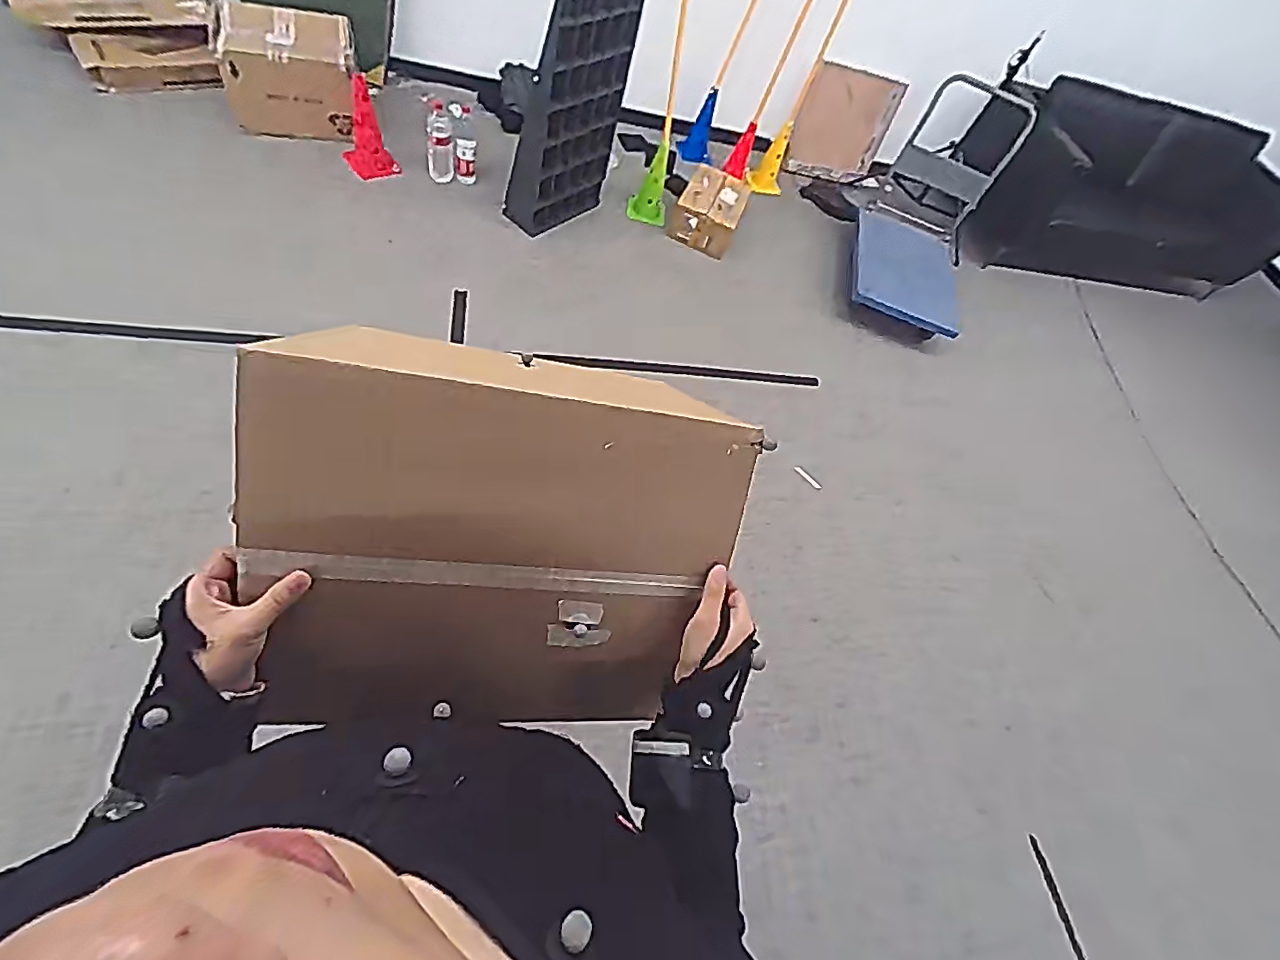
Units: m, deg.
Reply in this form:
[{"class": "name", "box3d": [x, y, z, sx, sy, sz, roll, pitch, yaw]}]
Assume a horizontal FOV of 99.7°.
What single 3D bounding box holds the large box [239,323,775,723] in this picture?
[{"class": "large box", "box3d": [-0.136, 0.020, 0.582, 0.408, 0.320, 0.320, 6, 17, -17]}]
